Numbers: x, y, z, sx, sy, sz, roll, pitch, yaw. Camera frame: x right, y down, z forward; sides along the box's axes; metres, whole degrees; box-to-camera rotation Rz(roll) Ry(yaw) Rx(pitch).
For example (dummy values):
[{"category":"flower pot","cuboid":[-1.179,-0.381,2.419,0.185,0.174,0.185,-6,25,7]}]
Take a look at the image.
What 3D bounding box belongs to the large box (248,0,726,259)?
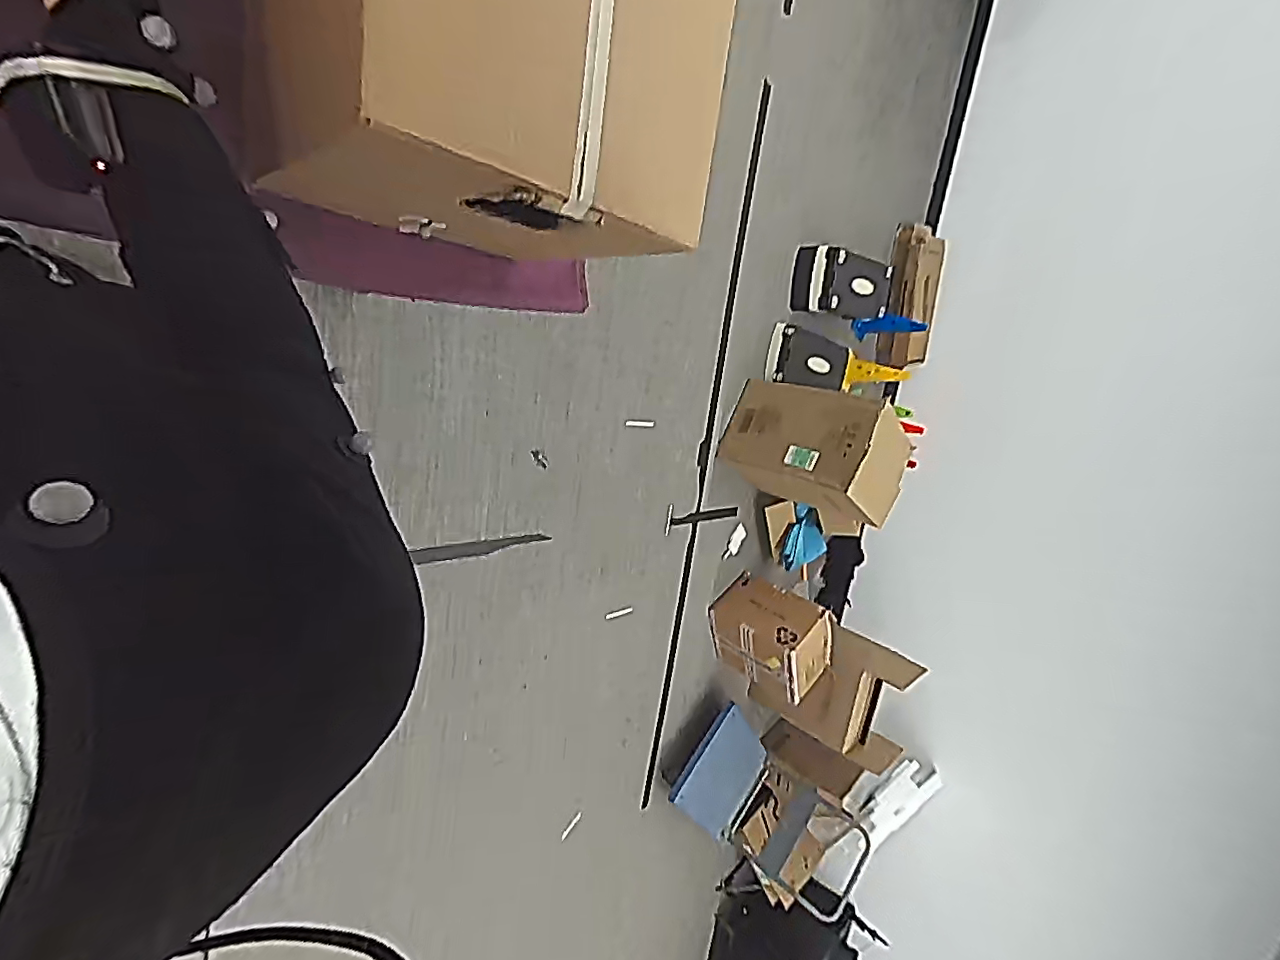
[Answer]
[{"category":"large box","cuboid":[-0.135,-0.442,0.479,0.320,0.320,0.408,-6,107,-47]}]
